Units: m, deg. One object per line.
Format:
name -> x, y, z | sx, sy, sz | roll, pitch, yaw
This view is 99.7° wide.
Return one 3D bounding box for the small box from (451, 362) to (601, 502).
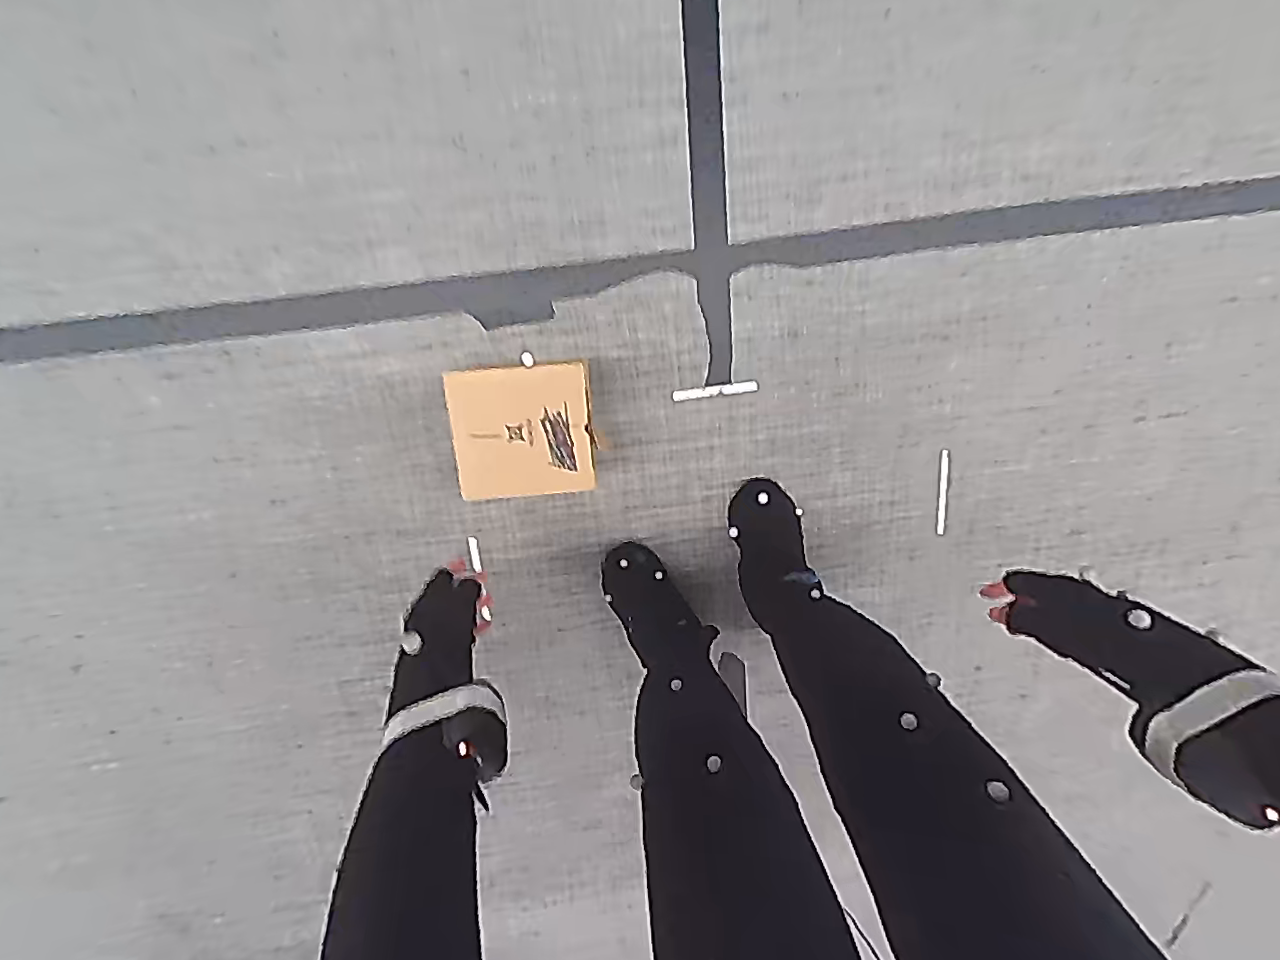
small box -> -0.150, -0.076, 0.770 | 0.179, 0.176, 0.168 | -5, 105, -3
